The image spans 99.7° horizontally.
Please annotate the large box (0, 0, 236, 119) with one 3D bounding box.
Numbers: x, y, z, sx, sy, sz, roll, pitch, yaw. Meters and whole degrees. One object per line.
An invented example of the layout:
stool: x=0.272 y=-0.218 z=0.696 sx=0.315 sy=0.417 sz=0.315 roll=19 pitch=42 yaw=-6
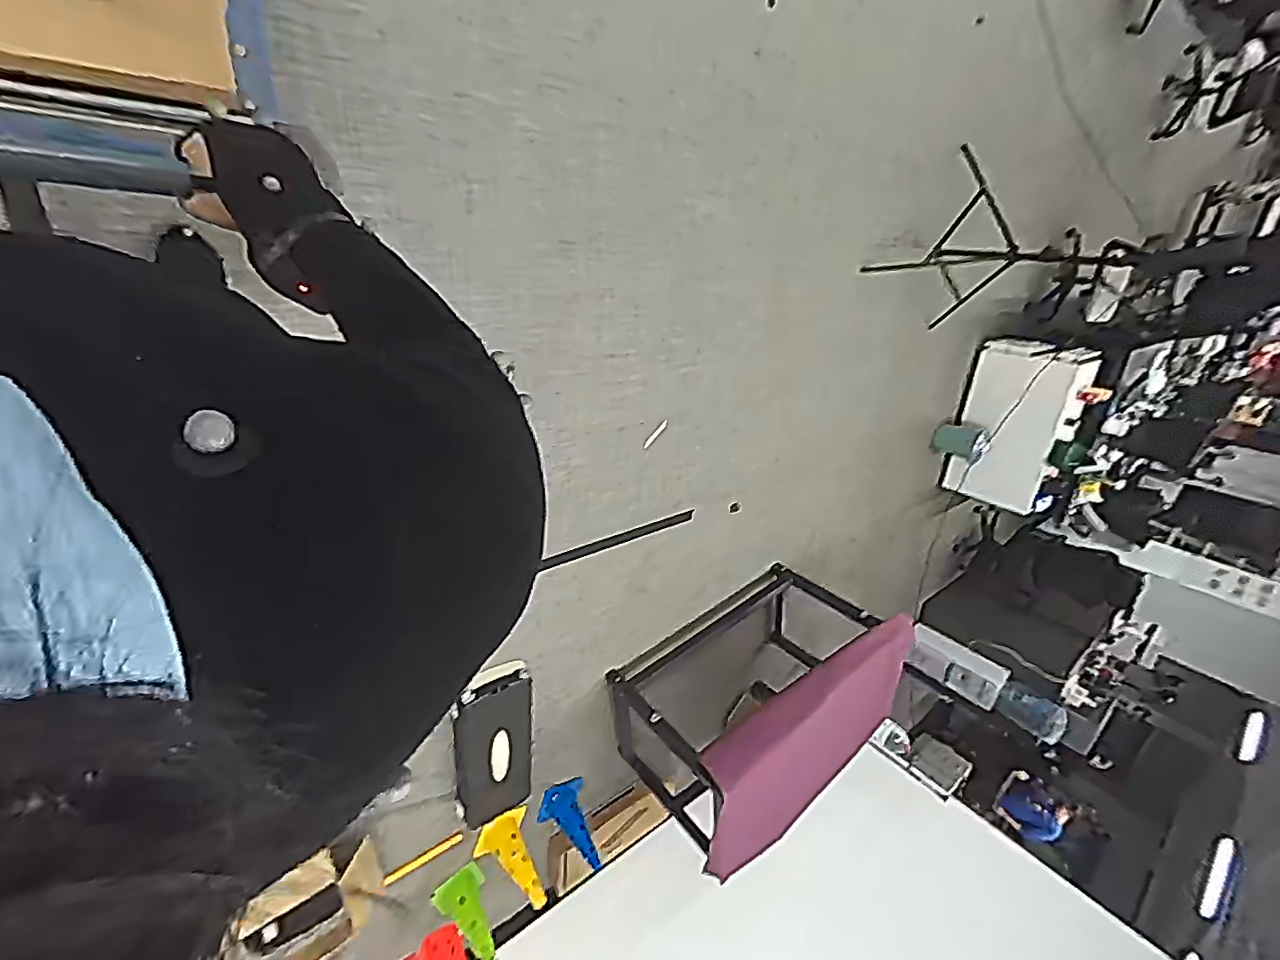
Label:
large box: x=-0.788 y=-0.671 z=0.664 sx=0.408 sy=0.320 sz=0.320 roll=-14 pitch=123 yaw=-37
